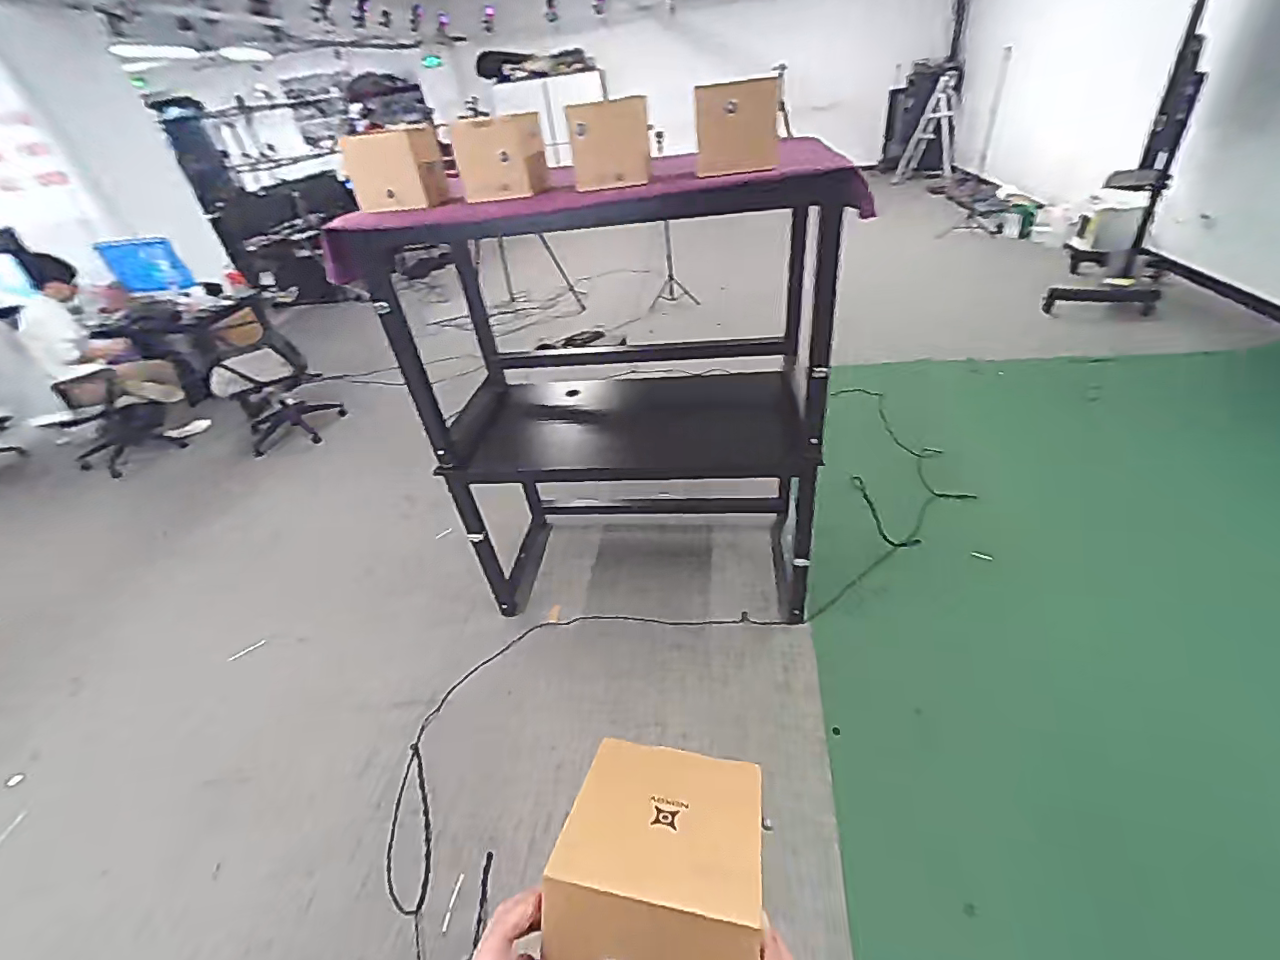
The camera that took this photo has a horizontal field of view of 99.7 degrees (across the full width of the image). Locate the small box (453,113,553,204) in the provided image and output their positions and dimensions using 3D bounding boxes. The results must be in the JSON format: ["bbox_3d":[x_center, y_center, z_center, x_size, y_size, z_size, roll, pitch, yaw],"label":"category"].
[{"bbox_3d":[-0.320,-0.775,1.309,0.168,0.176,0.179,1,35,11],"label":"small box"}]

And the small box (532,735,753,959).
[{"bbox_3d":[0.013,0.366,0.484,0.168,0.176,0.179,4,9,11],"label":"small box"}]

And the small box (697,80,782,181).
[{"bbox_3d":[0.224,-0.782,1.217,0.179,0.176,0.168,0,35,10],"label":"small box"}]

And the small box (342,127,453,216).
[{"bbox_3d":[-0.591,-0.770,1.349,0.179,0.176,0.168,-1,35,7],"label":"small box"}]
